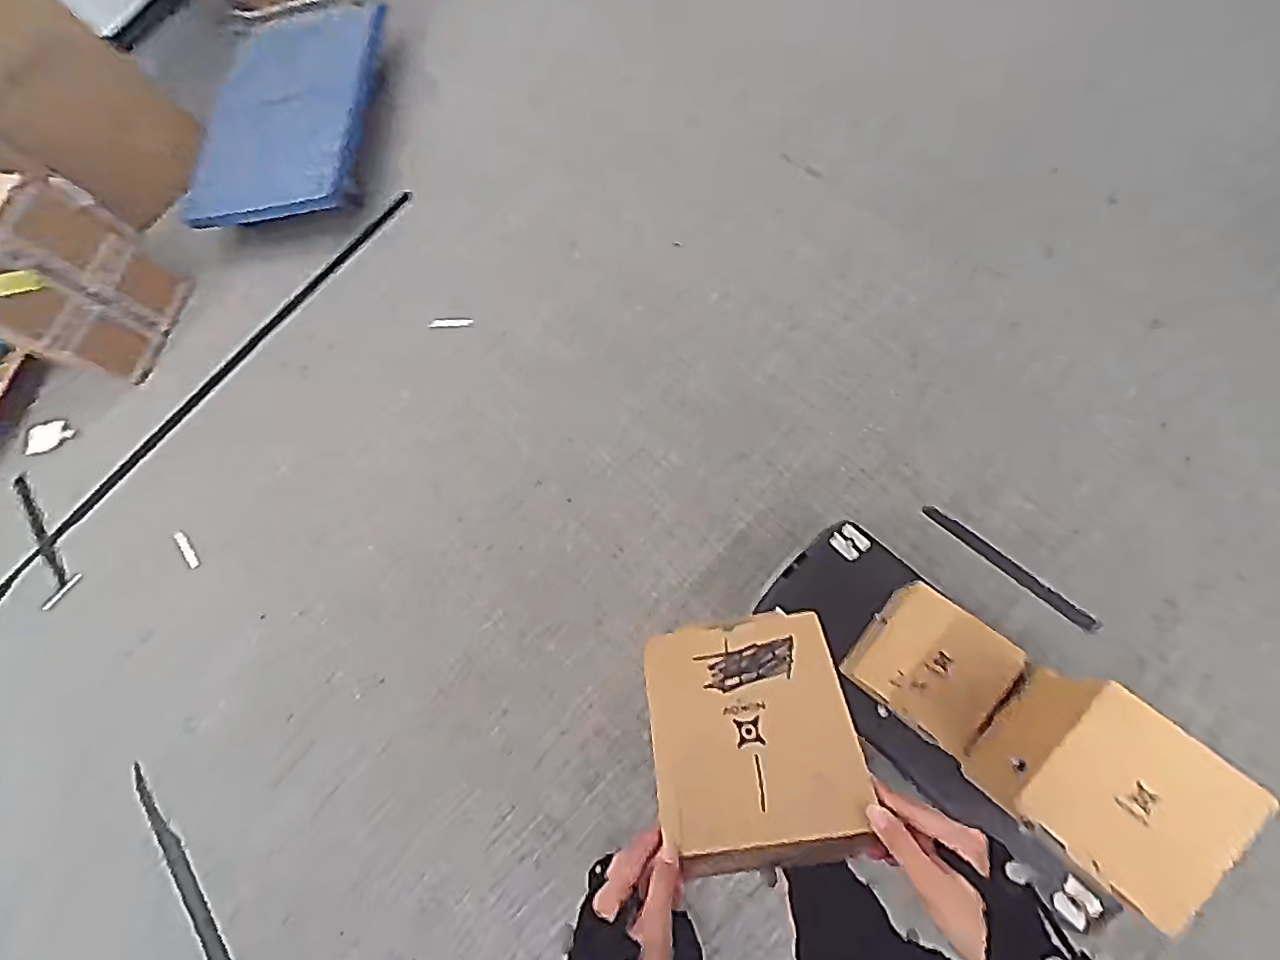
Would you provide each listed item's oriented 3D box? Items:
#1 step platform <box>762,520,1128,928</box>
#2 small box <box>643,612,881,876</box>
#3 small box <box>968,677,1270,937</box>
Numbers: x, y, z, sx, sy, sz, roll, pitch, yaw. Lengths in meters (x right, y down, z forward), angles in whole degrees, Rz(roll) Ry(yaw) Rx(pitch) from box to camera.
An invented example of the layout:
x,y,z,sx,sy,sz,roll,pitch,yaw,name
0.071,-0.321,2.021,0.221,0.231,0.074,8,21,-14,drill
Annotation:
x,y,z,sx,sy,sz,roll,pitch,yaw,name
0.554,0.386,0.974,0.286,0.204,0.684,-46,68,-4,step platform
0.101,0.251,0.512,0.168,0.176,0.179,-11,49,4,small box
0.527,0.353,0.630,0.168,0.176,0.179,41,87,20,small box
